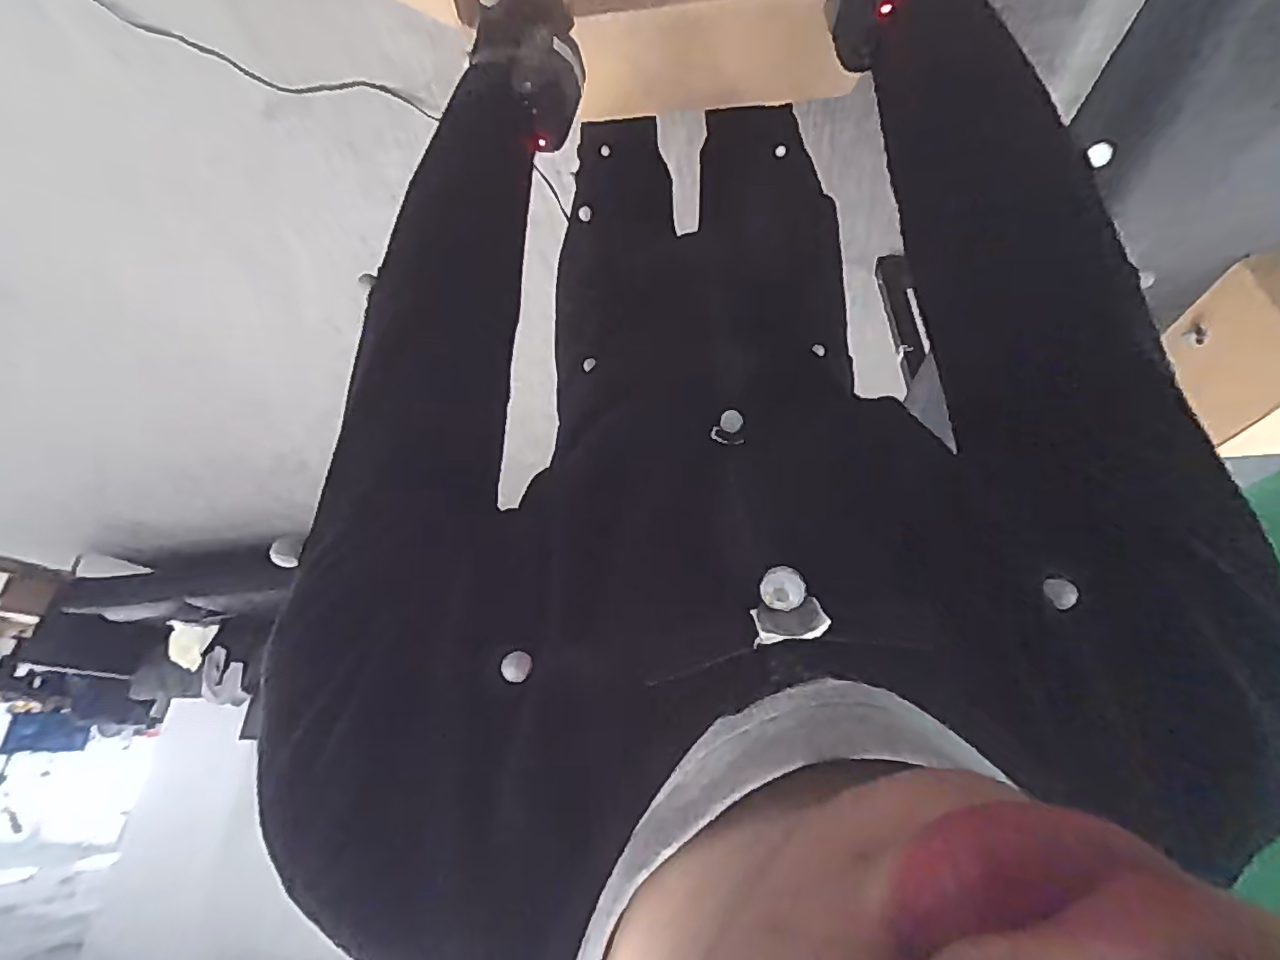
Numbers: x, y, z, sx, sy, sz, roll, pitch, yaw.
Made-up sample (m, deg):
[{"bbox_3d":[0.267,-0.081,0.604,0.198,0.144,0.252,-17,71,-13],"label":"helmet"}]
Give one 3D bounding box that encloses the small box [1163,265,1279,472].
[{"bbox_3d":[0.763,-0.125,0.618,0.168,0.176,0.179,-5,153,9],"label":"small box"}]
